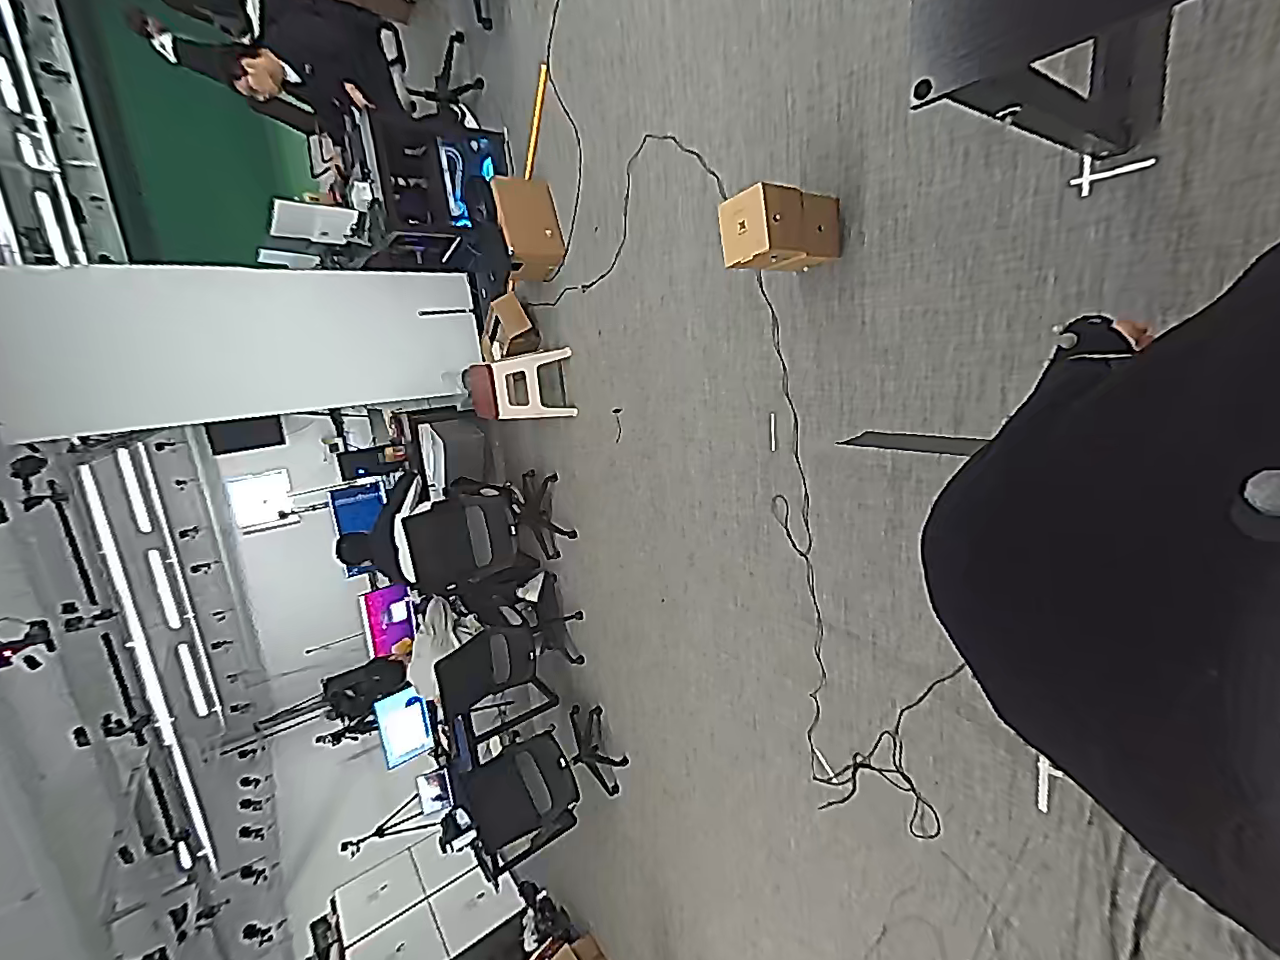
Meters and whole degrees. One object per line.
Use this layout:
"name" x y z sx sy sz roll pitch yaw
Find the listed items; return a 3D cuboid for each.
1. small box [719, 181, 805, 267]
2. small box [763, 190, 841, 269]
"small box" 0.349 -0.714 1.526 0.168 0.176 0.179 1 102 54
"small box" 0.480 -0.741 1.618 0.168 0.176 0.179 7 108 54
